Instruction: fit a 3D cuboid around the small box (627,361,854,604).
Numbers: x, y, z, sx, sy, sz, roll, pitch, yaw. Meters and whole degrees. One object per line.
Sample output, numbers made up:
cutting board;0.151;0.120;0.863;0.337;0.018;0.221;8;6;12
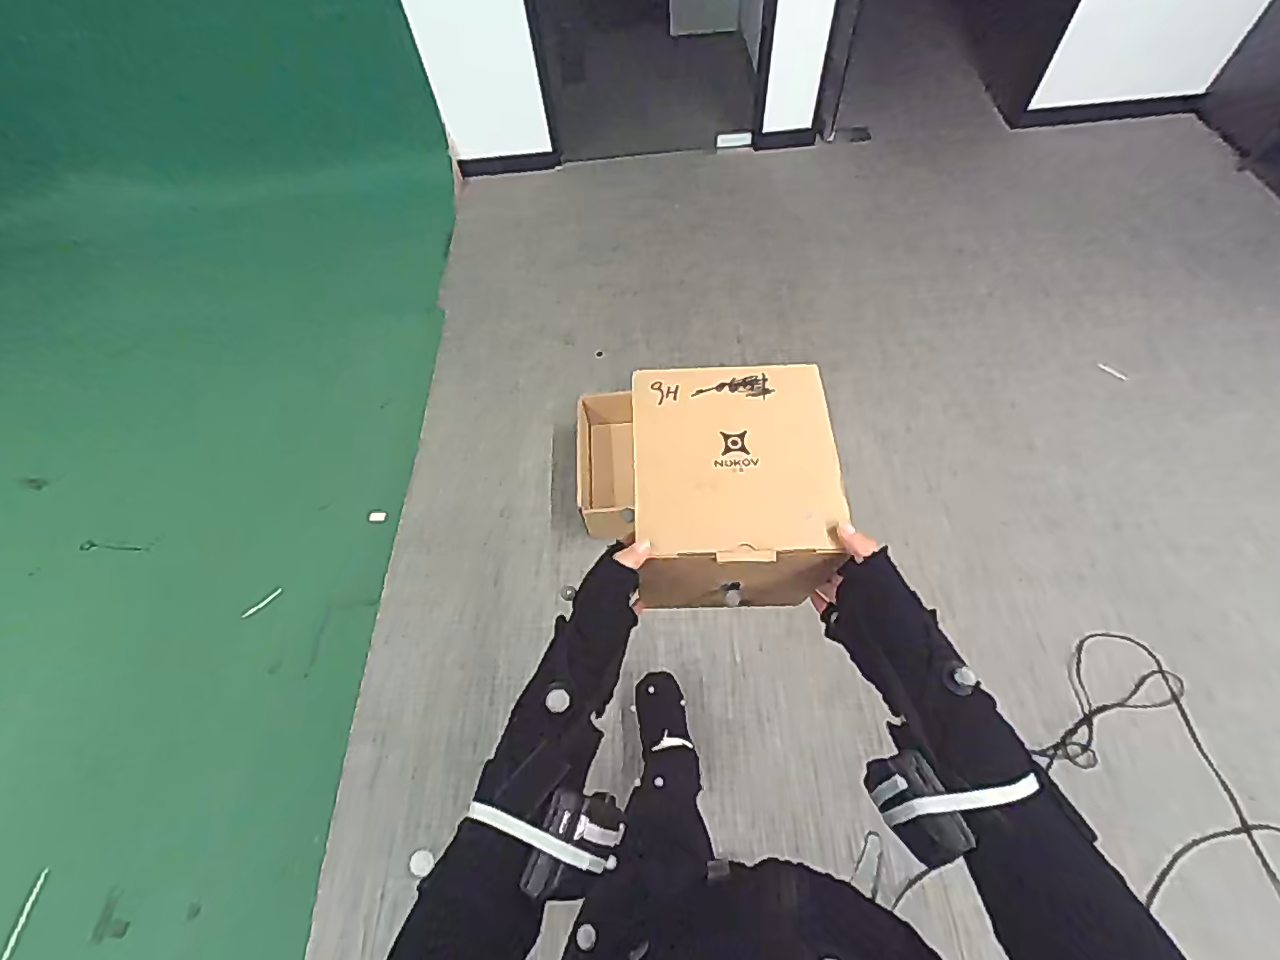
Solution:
small box;0.079;0.014;0.513;0.168;0.176;0.179;-5;63;0
